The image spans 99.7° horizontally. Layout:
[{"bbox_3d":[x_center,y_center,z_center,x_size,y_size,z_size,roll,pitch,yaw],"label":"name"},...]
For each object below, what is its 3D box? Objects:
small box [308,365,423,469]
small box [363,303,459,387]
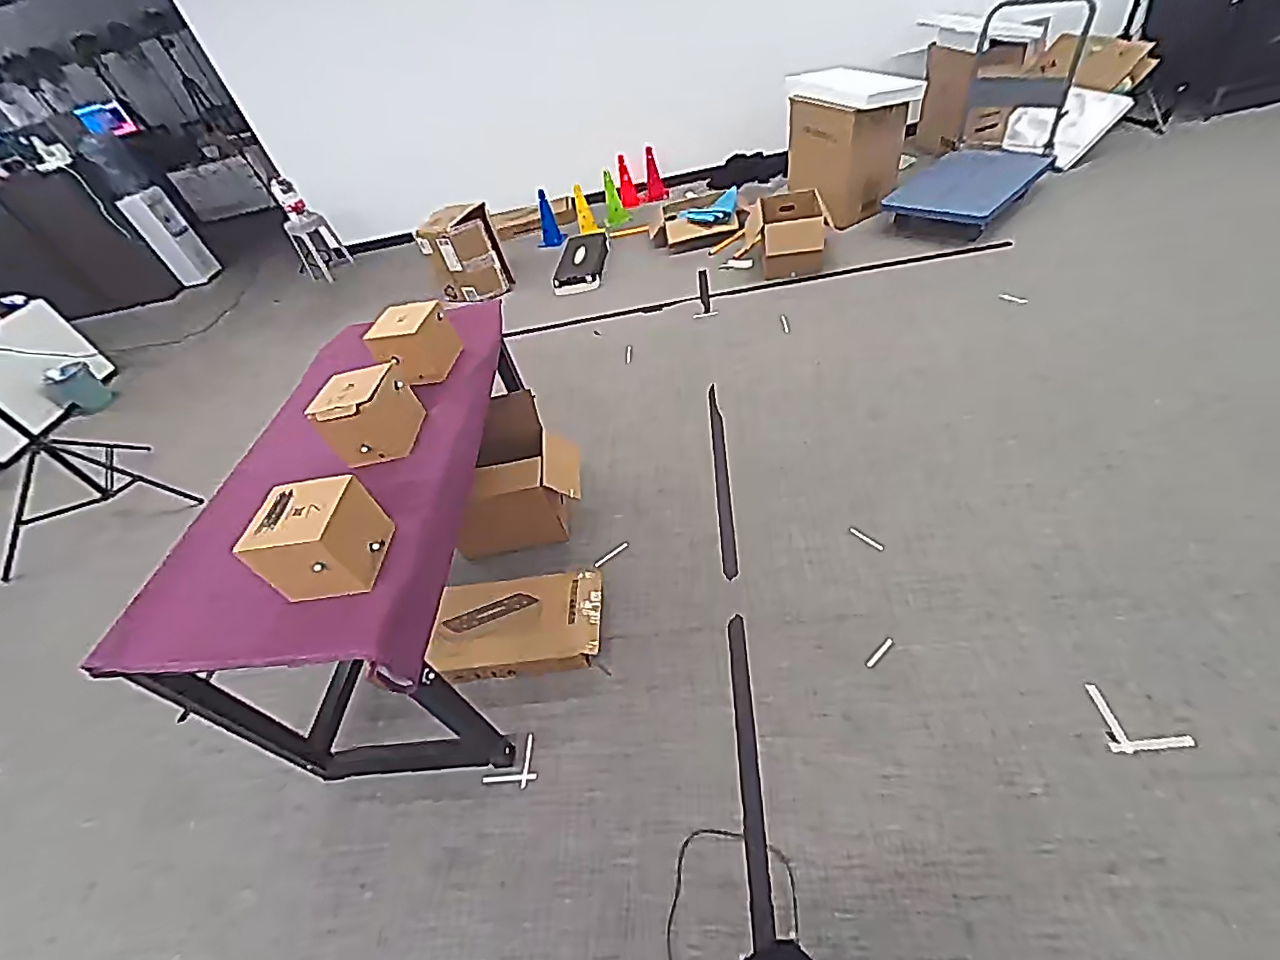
[{"bbox_3d":[-0.667,-0.154,1.341,0.168,0.176,0.179,-11,45,9],"label":"small box"},{"bbox_3d":[-0.649,-0.382,1.562,0.168,0.176,0.179,-4,45,13],"label":"small box"}]
